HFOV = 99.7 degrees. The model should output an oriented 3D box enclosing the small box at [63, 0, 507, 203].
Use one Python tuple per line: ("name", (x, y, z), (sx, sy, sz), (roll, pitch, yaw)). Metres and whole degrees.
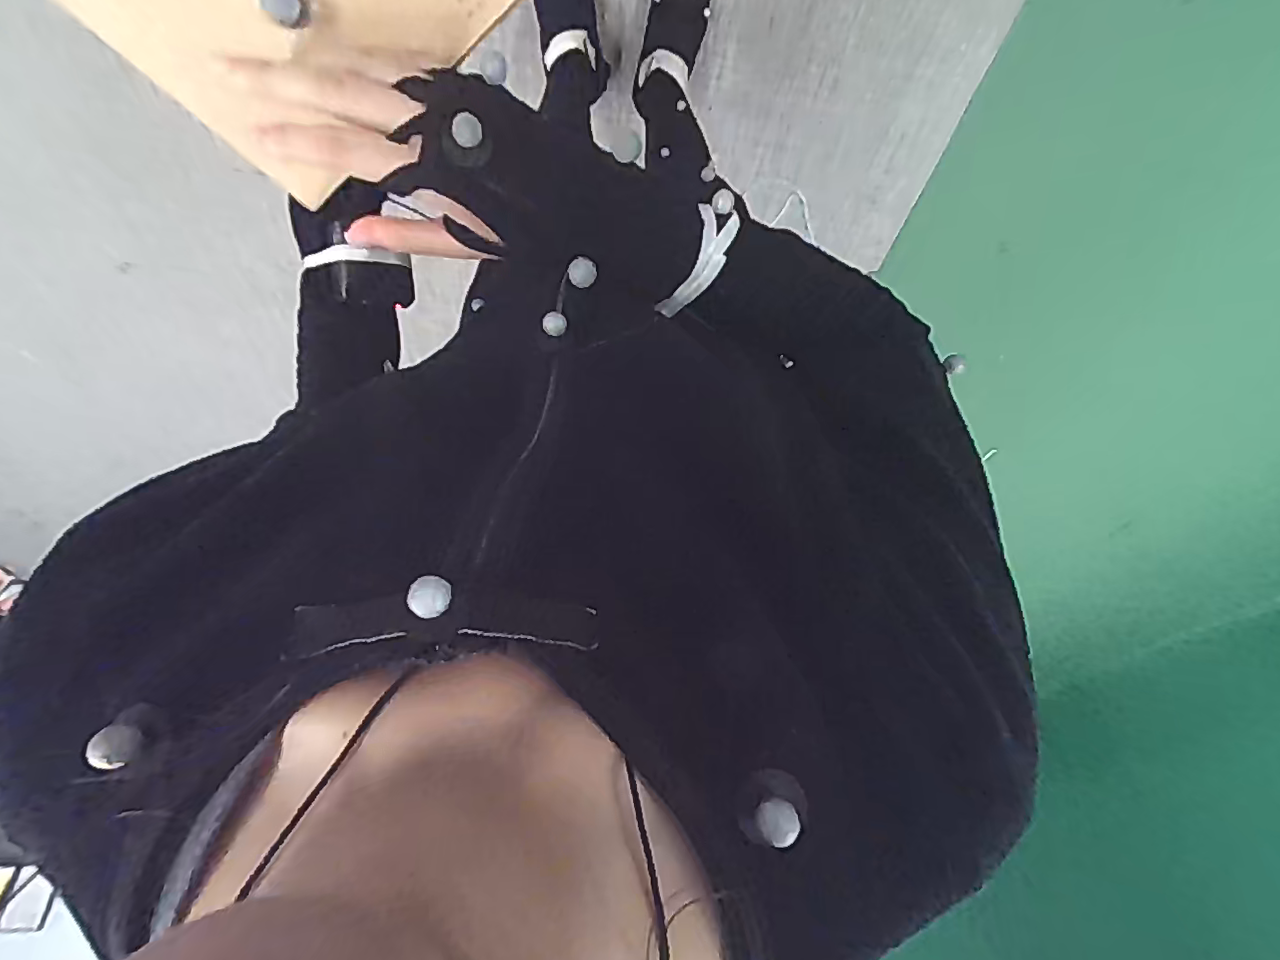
("small box", (-0.171, -0.289, 0.265), (0.176, 0.179, 0.168), (-28, 138, 21))
